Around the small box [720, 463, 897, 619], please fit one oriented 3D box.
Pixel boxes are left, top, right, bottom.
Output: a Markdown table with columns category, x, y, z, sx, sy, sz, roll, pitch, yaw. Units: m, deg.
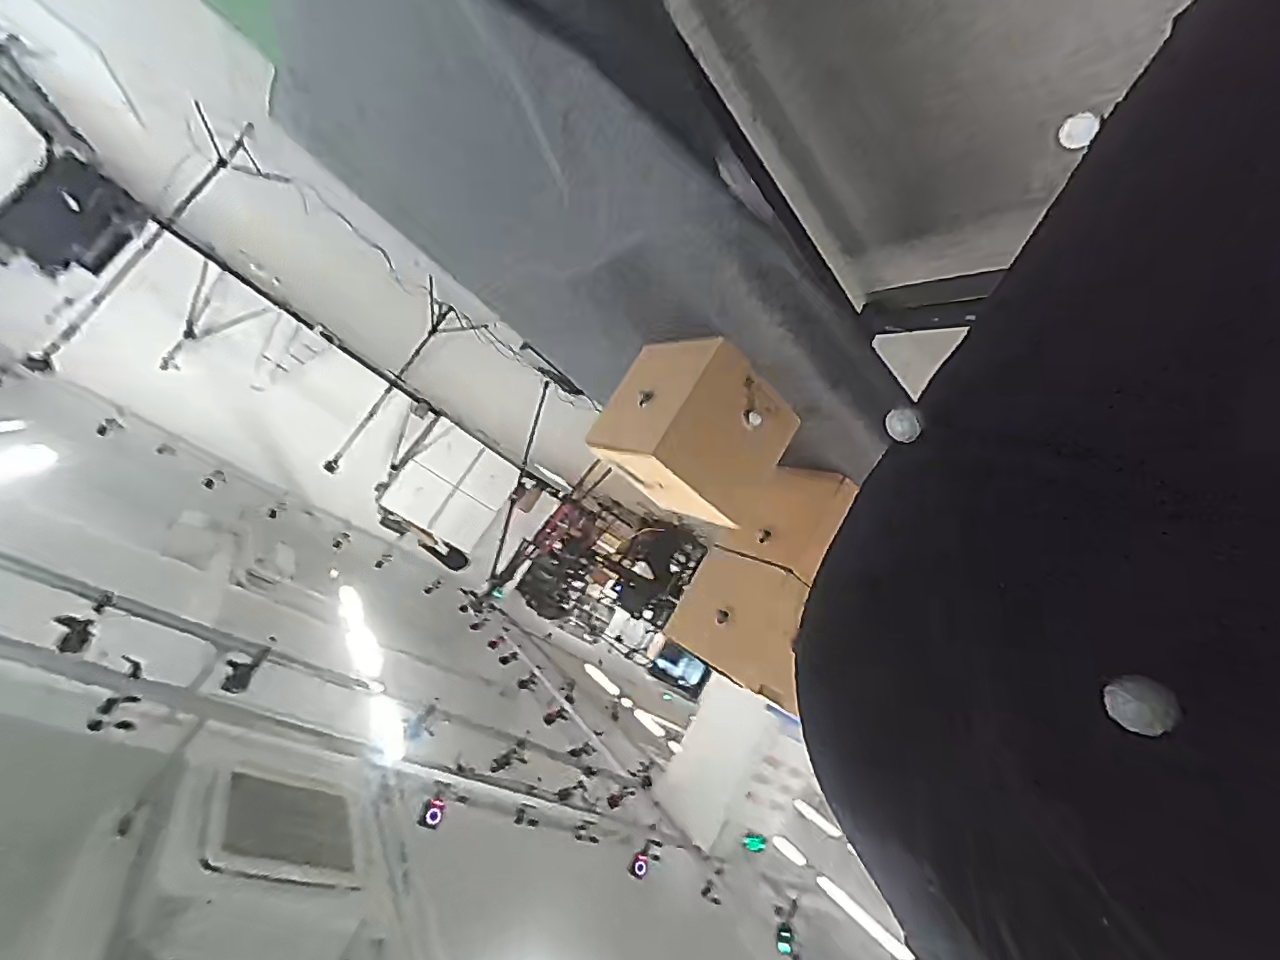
| category | x | y | z | sx | sy | sz | roll | pitch | yaw |
| --- | --- | --- | --- | --- | --- | --- | --- | --- | --- |
| small box | 0.268 | 0.087 | 0.862 | 0.168 | 0.176 | 0.179 | 39 | 166 | -29 |

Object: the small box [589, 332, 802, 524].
| category | x | y | z | sx | sy | sz | roll | pitch | yaw |
| --- | --- | --- | --- | --- | --- | --- | --- | --- | --- |
| small box | 0.072 | -0.070 | 0.700 | 0.168 | 0.176 | 0.179 | 38 | 167 | -30 |

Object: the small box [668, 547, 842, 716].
| category | x | y | z | sx | sy | sz | roll | pitch | yaw |
| --- | --- | --- | --- | --- | --- | --- | --- | --- | --- |
| small box | 0.181 | 0.220 | 0.824 | 0.168 | 0.176 | 0.179 | 39 | 166 | -27 |
